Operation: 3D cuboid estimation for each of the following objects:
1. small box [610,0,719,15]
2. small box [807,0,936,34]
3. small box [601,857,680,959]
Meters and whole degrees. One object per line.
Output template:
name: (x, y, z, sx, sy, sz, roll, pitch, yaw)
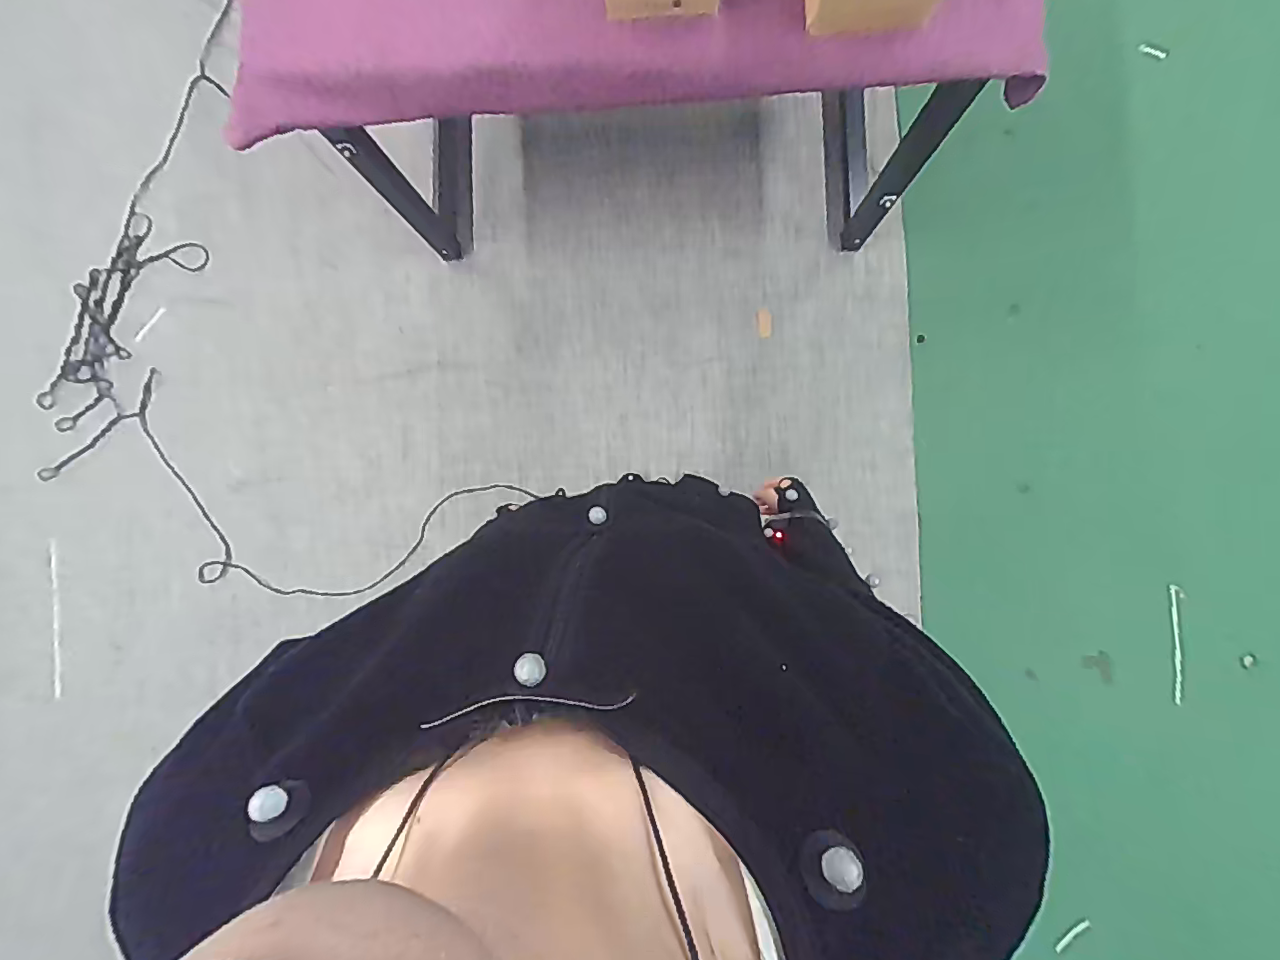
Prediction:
small box: (0.033, -0.781, 0.735, 0.168, 0.176, 0.179, 0, 87, 3)
small box: (0.330, -0.745, 0.719, 0.179, 0.176, 0.168, -3, 89, 4)
small box: (0.005, 1.089, 1.365, 0.179, 0.176, 0.168, -8, 86, 4)
